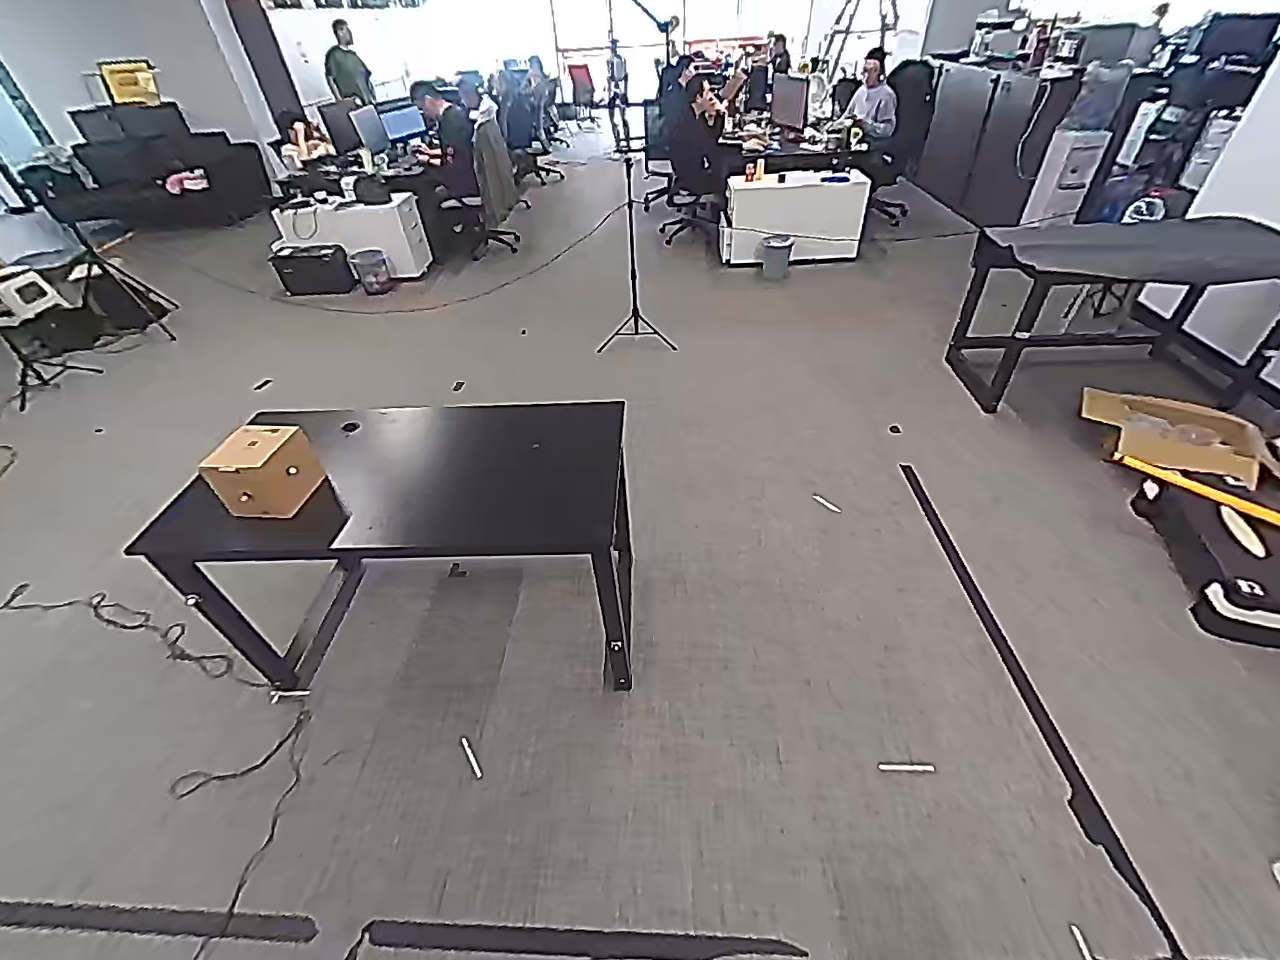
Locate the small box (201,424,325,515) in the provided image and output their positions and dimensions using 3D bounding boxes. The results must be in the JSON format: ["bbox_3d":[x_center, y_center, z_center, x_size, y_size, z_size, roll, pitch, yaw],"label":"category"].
[{"bbox_3d":[-0.956,-0.026,1.396,0.168,0.176,0.179,2,42,6],"label":"small box"}]
